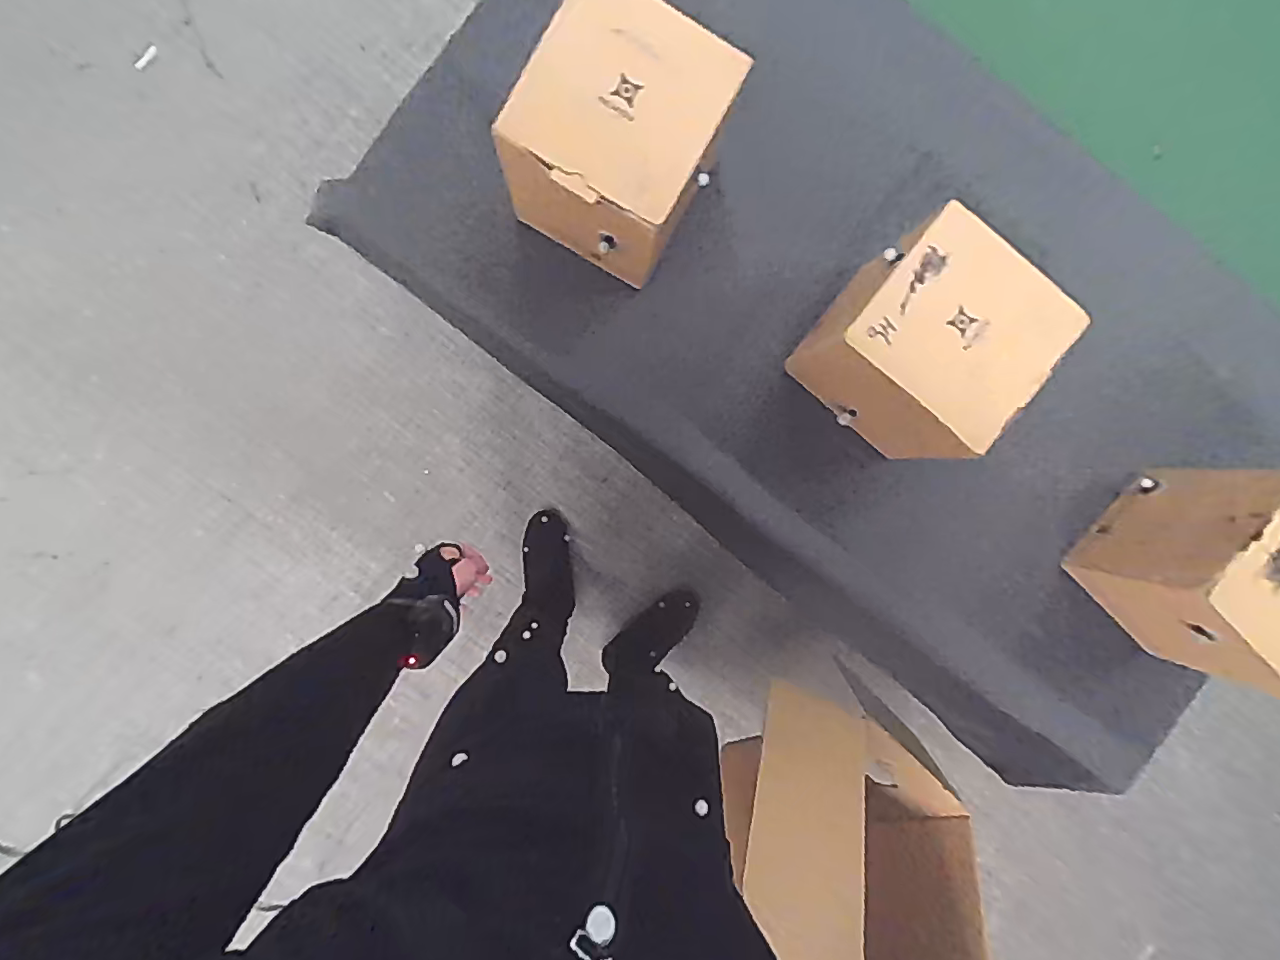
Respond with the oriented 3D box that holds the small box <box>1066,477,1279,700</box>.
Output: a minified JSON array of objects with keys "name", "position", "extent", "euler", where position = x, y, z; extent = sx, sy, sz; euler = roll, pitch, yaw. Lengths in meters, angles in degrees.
[{"name":"small box","position":[0.644,0.113,0.605],"extent":[0.179,0.176,0.168],"euler":[43,89,-4]}]

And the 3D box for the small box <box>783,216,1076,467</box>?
[{"name":"small box","position":[0.289,-0.131,0.579],"extent":[0.179,0.176,0.168],"euler":[39,88,-4]}]

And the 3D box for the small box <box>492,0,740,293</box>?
[{"name":"small box","position":[-0.026,-0.324,0.555],"extent":[0.168,0.176,0.179],"euler":[28,87,-6]}]
